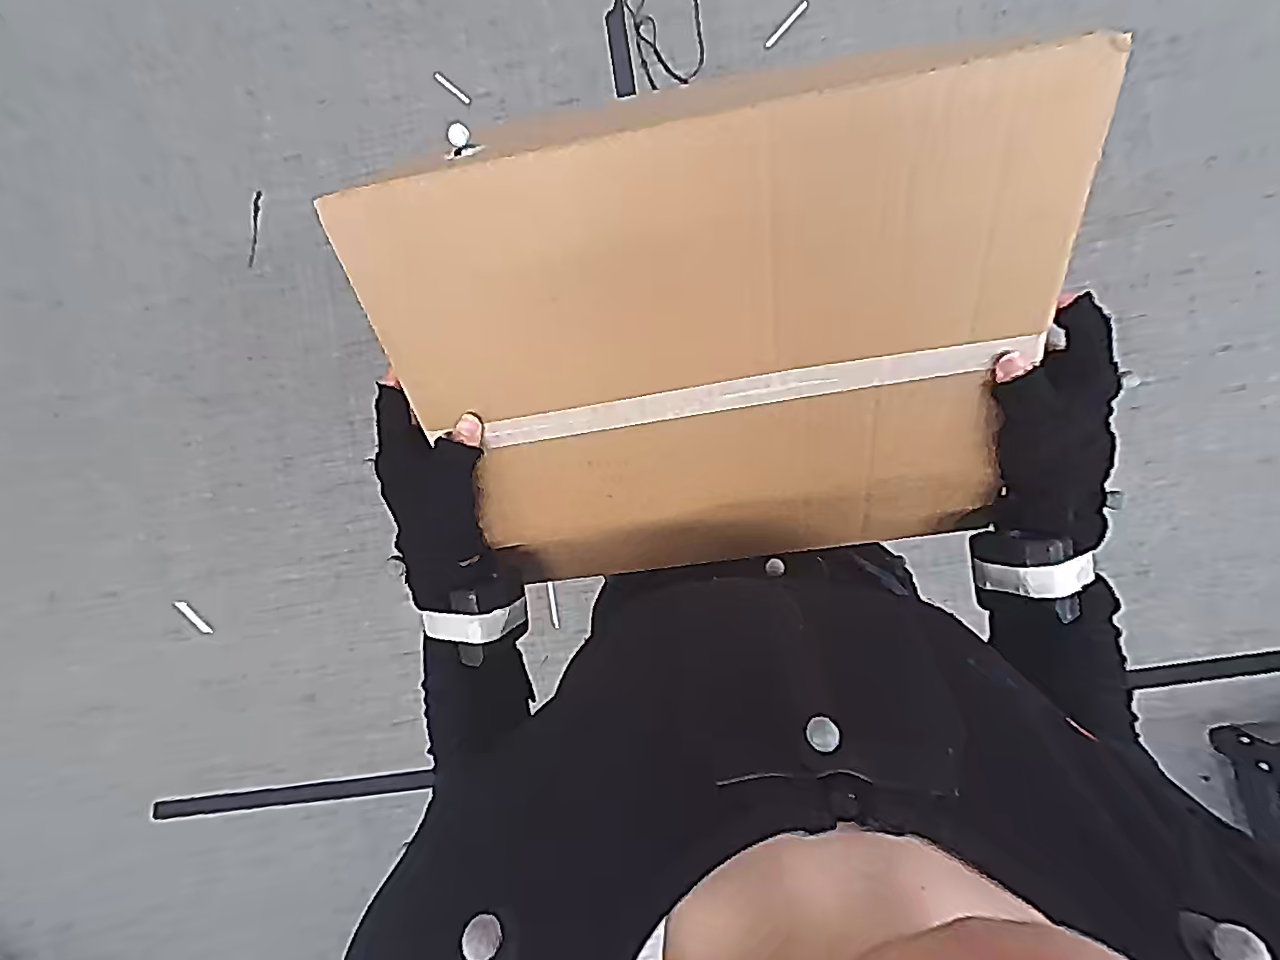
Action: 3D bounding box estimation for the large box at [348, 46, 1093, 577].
[{"bbox_3d":[0.052,-0.150,0.489,0.408,0.320,0.320,-8,128,6],"label":"large box"}]
